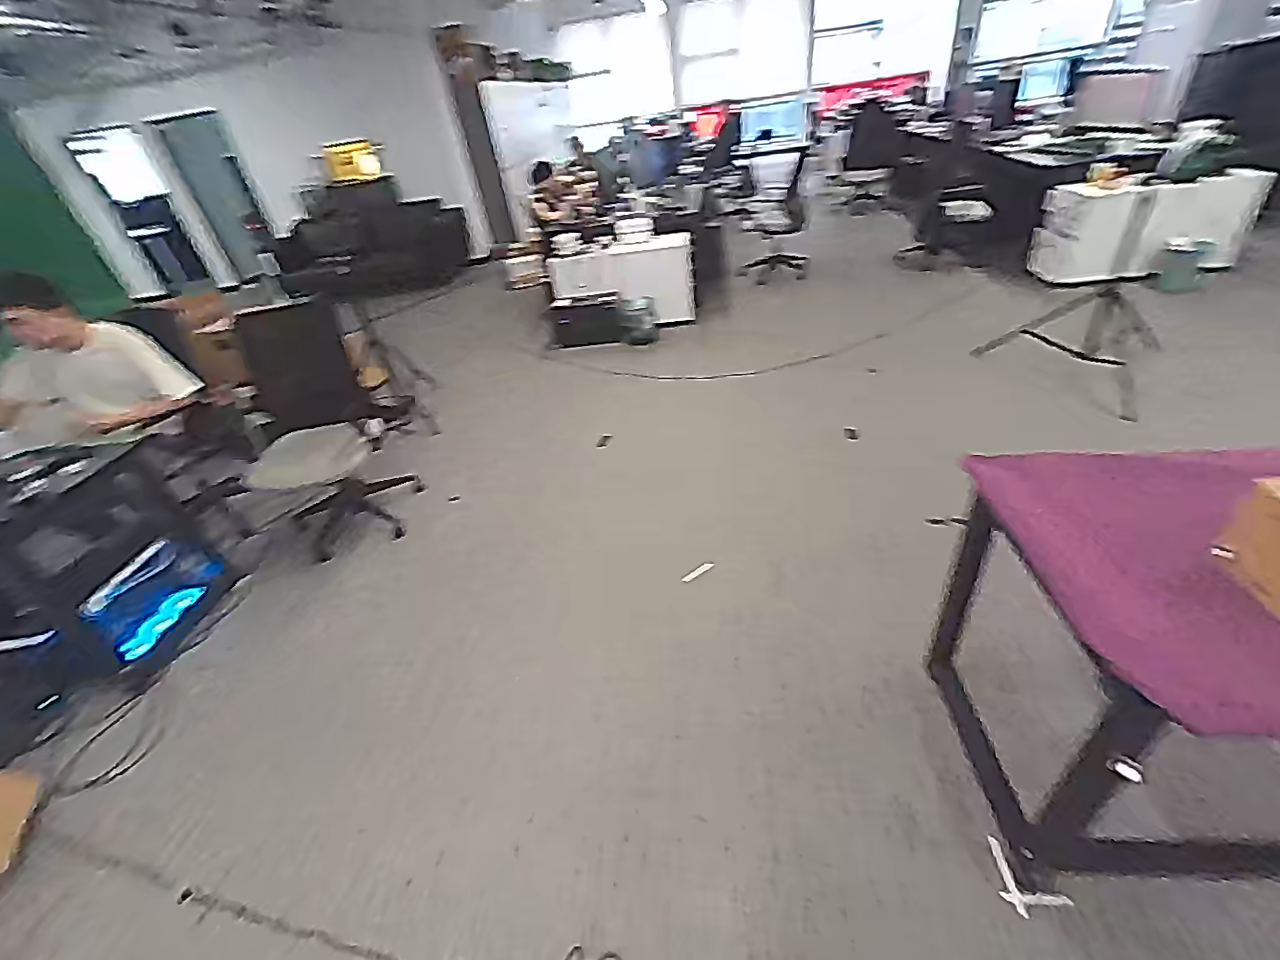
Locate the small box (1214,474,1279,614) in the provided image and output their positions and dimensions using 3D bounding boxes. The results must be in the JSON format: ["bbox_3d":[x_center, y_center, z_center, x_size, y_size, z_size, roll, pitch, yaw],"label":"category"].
[{"bbox_3d":[1.082,0.103,0.857,0.179,0.176,0.168,-3,36,8],"label":"small box"}]
